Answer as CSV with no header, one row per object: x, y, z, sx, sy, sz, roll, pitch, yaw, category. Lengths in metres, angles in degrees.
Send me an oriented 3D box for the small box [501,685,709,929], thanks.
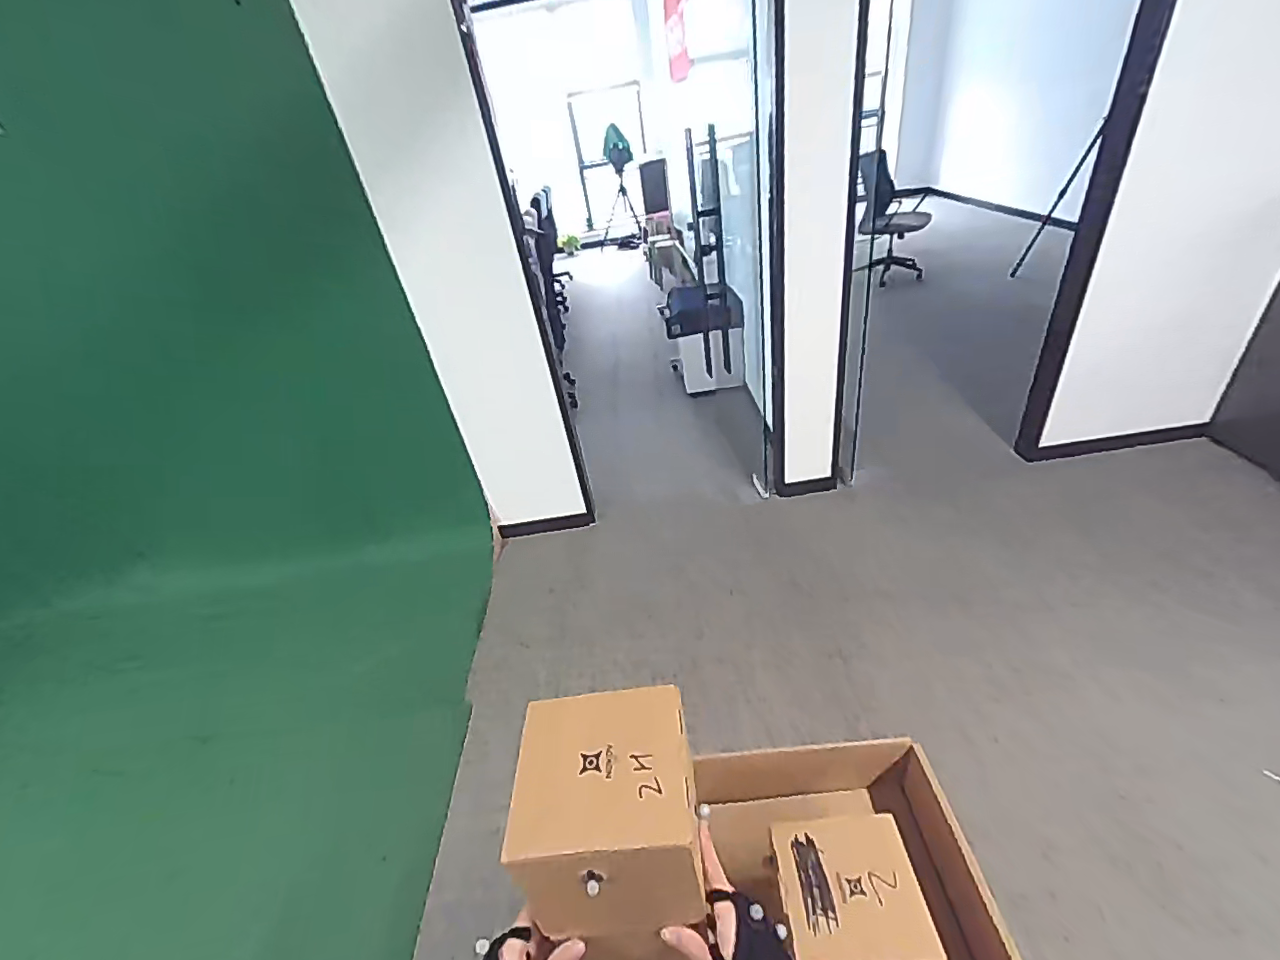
-0.027,0.351,0.583,0.179,0.176,0.168,-8,32,4,small box

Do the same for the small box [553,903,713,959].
-0.004,0.487,0.674,0.168,0.176,0.179,-7,32,3,small box
